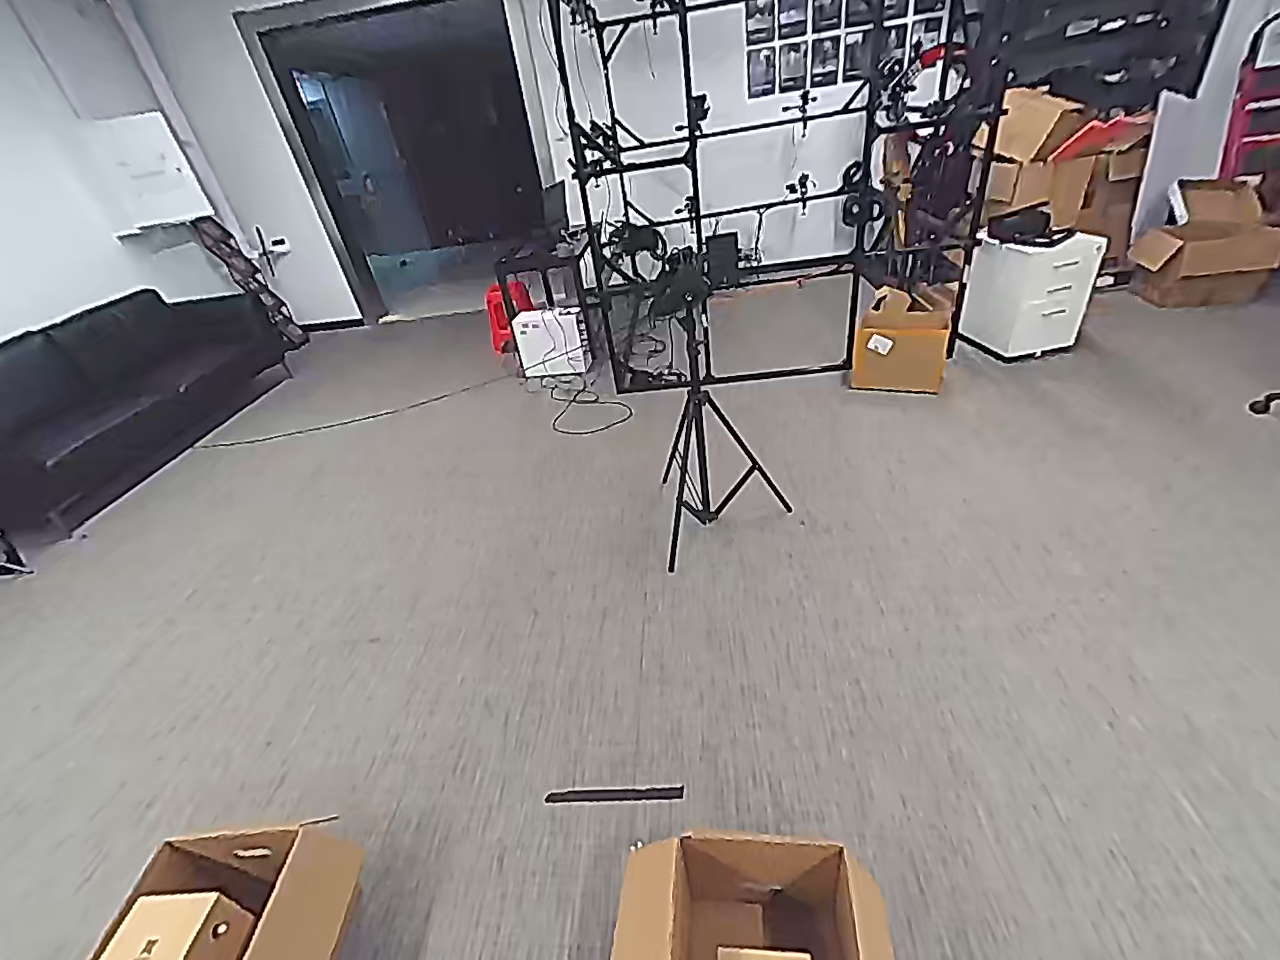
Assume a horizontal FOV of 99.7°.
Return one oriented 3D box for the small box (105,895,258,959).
[{"bbox_3d":[-0.855,0.905,0.998,0.168,0.176,0.179,-7,34,5],"label":"small box"}]
